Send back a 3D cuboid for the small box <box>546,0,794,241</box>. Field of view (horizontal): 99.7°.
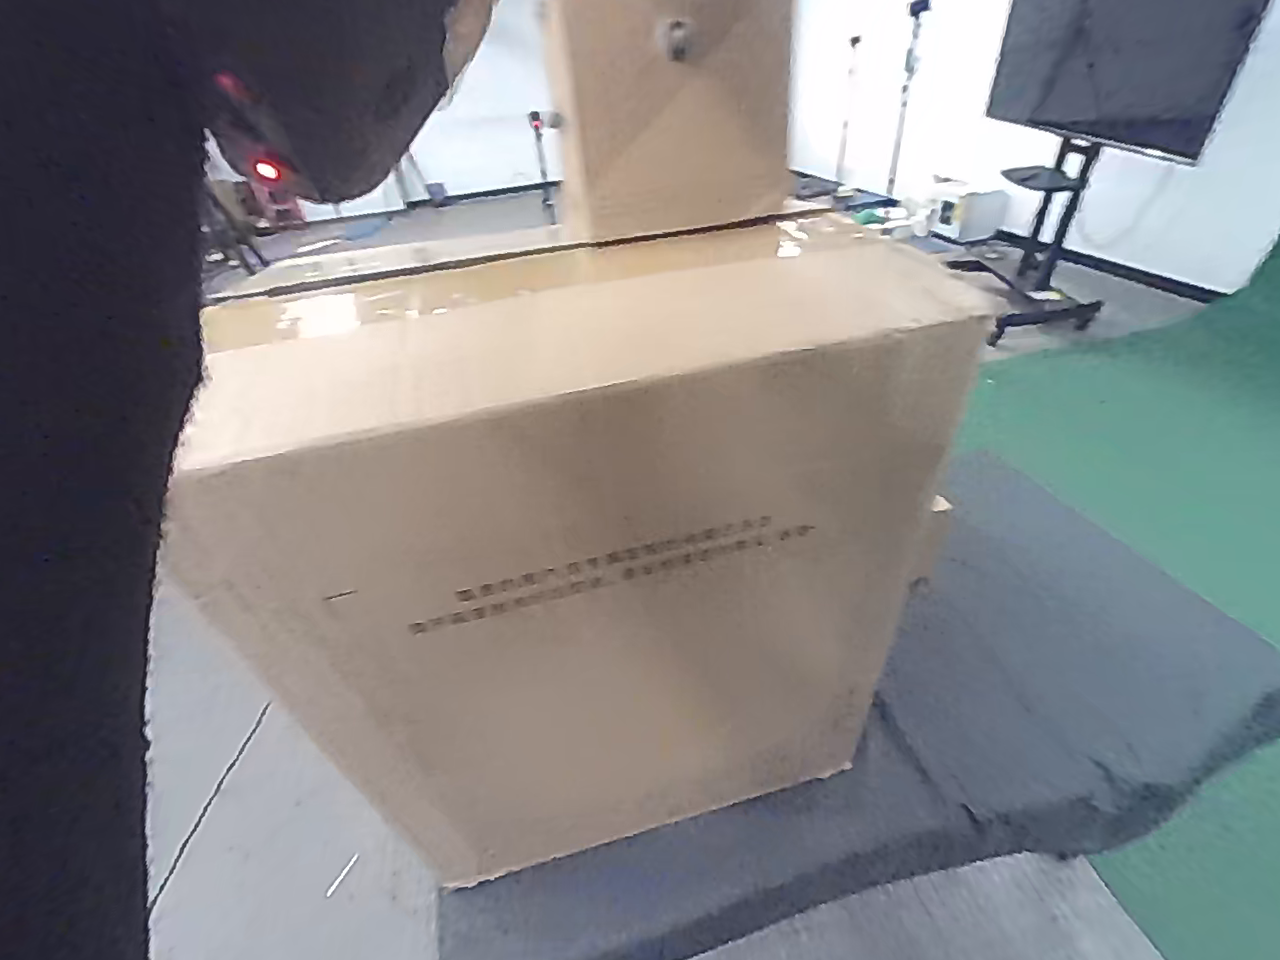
[{"bbox_3d":[0.022,-0.318,0.479,0.179,0.176,0.168,-11,33,-8],"label":"small box"}]
